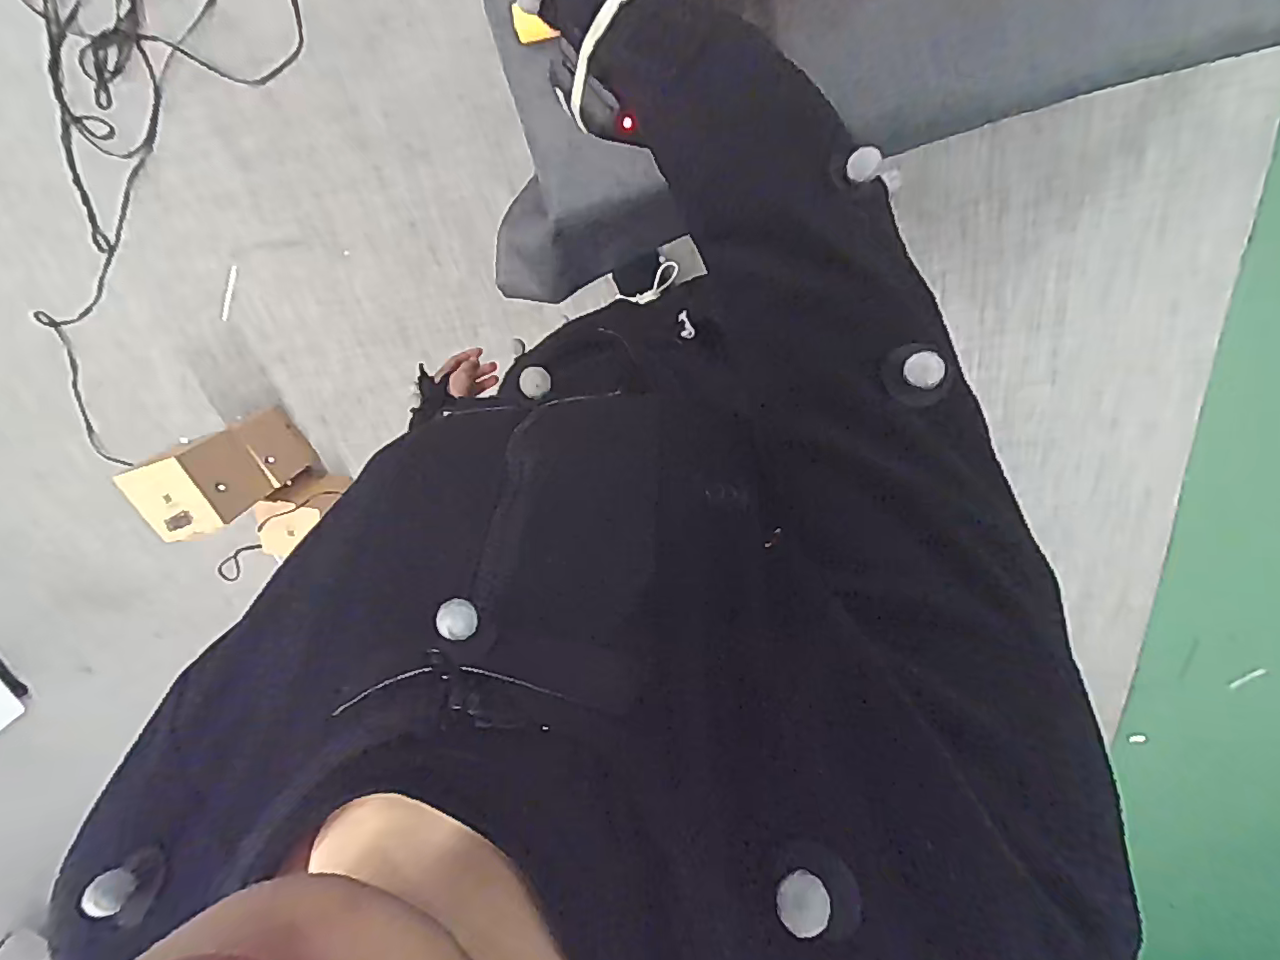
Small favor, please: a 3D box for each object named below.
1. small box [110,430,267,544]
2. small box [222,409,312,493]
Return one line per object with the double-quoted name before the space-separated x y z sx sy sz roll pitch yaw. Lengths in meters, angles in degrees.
"small box" -0.999 0.012 1.218 0.168 0.176 0.179 -15 115 10
"small box" -0.985 -0.057 1.367 0.179 0.176 0.168 -19 114 12
